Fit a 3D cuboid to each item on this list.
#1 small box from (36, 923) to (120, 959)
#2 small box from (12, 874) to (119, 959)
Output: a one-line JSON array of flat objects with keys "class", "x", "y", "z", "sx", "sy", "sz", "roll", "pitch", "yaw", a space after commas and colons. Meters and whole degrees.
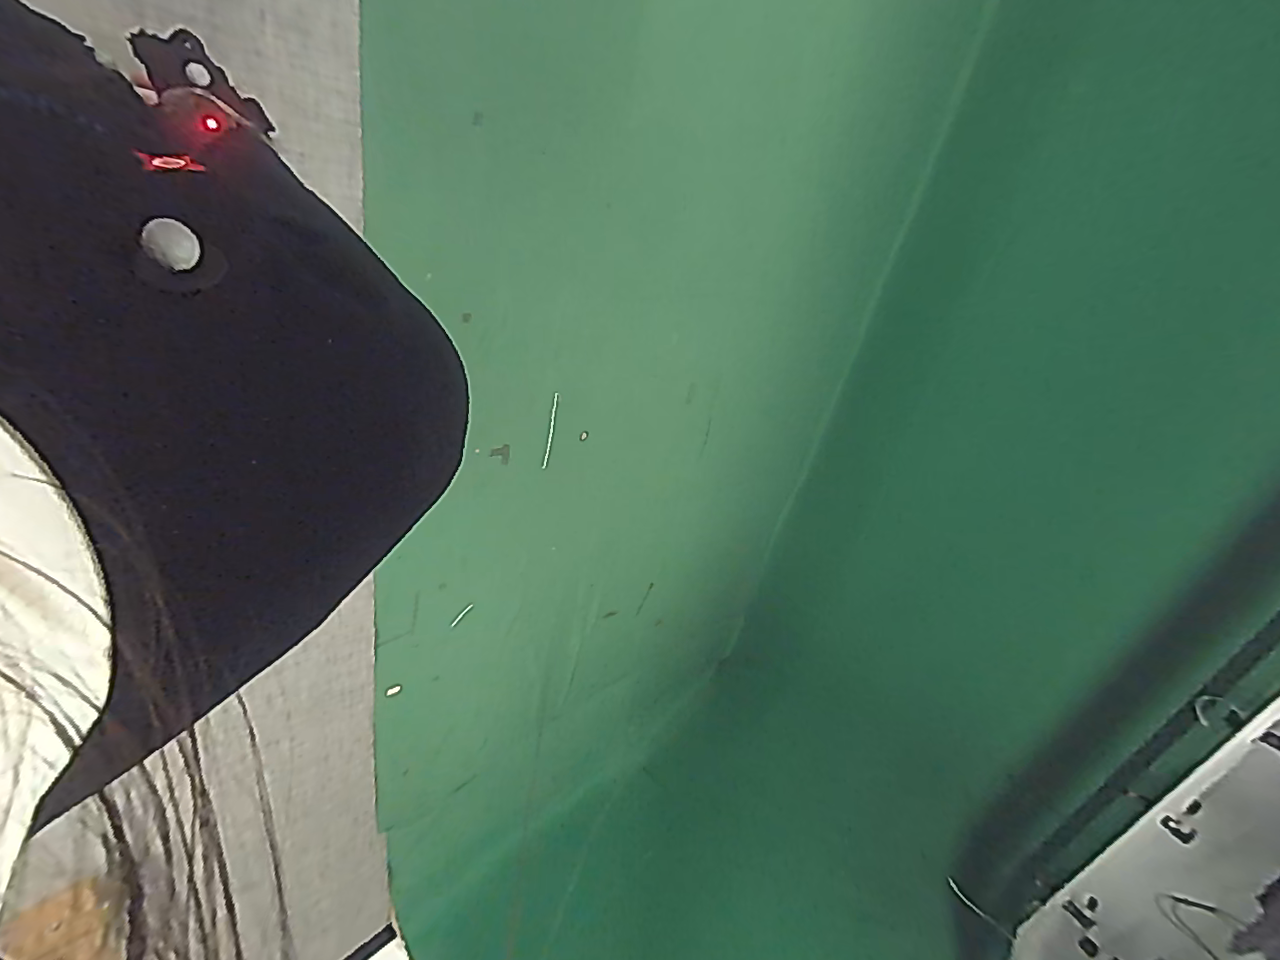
[{"class": "small box", "x": -1.494, "y": 1.338, "z": 1.421, "sx": 0.179, "sy": 0.176, "sz": 0.168, "roll": -15, "pitch": 129, "yaw": -45}, {"class": "small box", "x": -1.610, "y": 1.272, "z": 1.515, "sx": 0.179, "sy": 0.176, "sz": 0.168, "roll": -19, "pitch": 132, "yaw": -45}]
